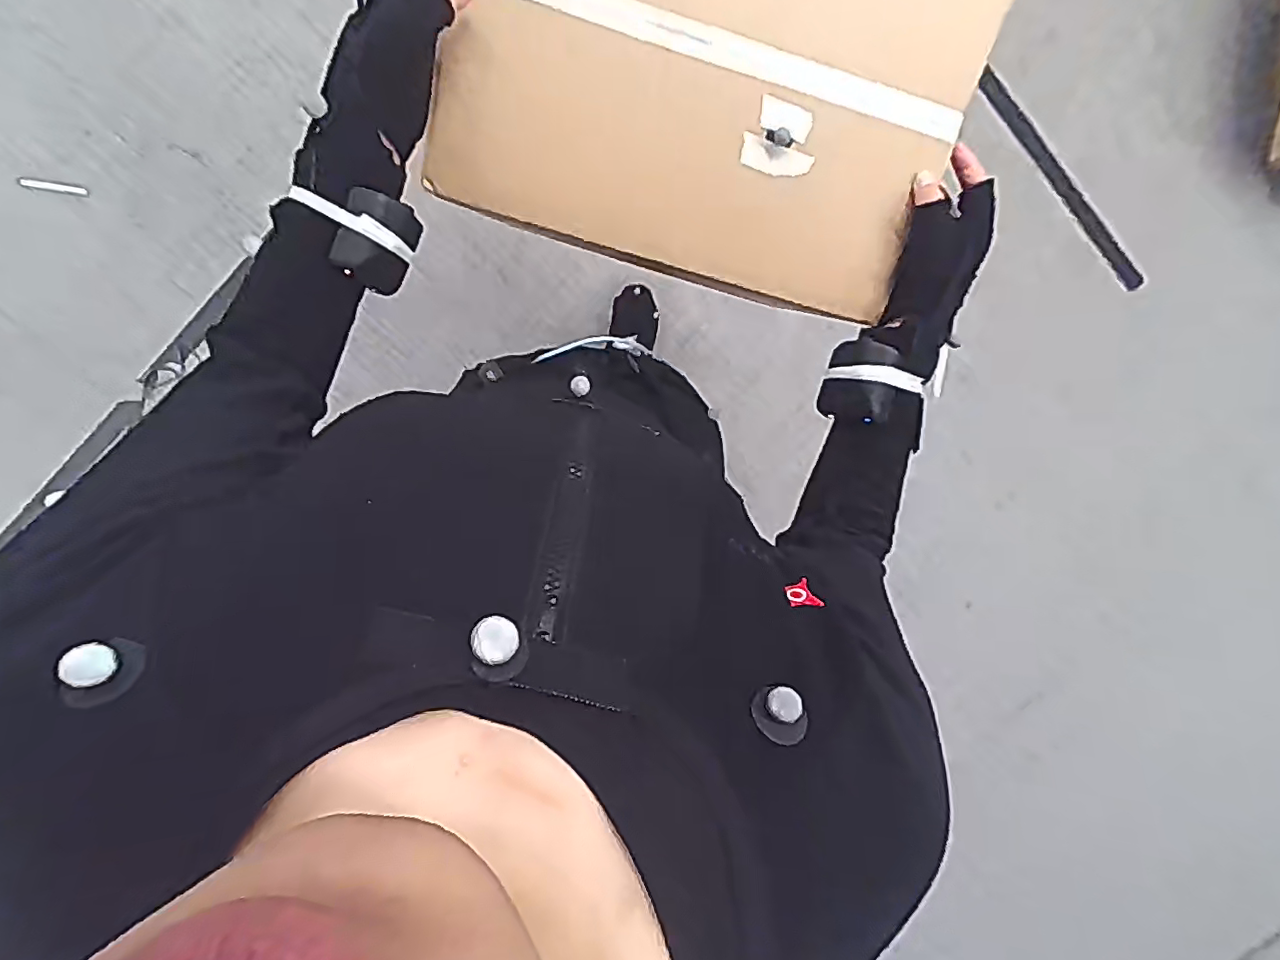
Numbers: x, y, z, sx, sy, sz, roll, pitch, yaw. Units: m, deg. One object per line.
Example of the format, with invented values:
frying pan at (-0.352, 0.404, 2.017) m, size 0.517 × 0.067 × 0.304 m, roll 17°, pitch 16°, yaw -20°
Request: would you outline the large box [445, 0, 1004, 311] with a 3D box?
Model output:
large box at (0.058, -0.388, 0.559) m, size 0.408 × 0.320 × 0.320 m, roll 14°, pitch 111°, yaw -8°
